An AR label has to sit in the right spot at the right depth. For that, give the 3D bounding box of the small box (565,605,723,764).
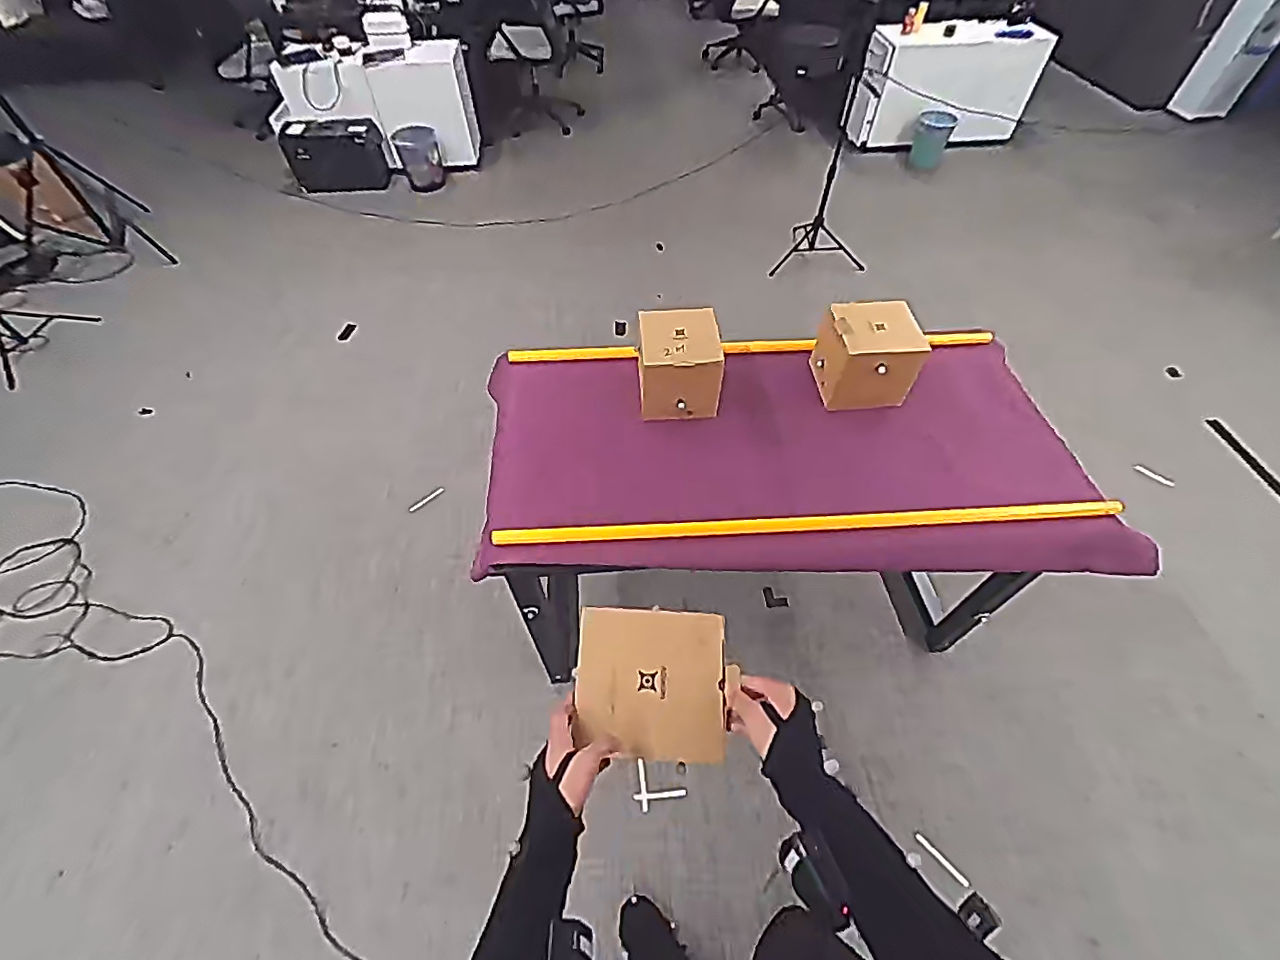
[{"bbox_3d":[0.006,0.266,0.699,0.179,0.176,0.168,3,64,0],"label":"small box"}]

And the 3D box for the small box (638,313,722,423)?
[{"bbox_3d":[0.081,-0.248,1.201,0.168,0.176,0.179,-3,55,-2],"label":"small box"}]

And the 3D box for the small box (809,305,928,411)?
[{"bbox_3d":[0.503,-0.271,1.217,0.179,0.176,0.168,-4,54,-2],"label":"small box"}]
